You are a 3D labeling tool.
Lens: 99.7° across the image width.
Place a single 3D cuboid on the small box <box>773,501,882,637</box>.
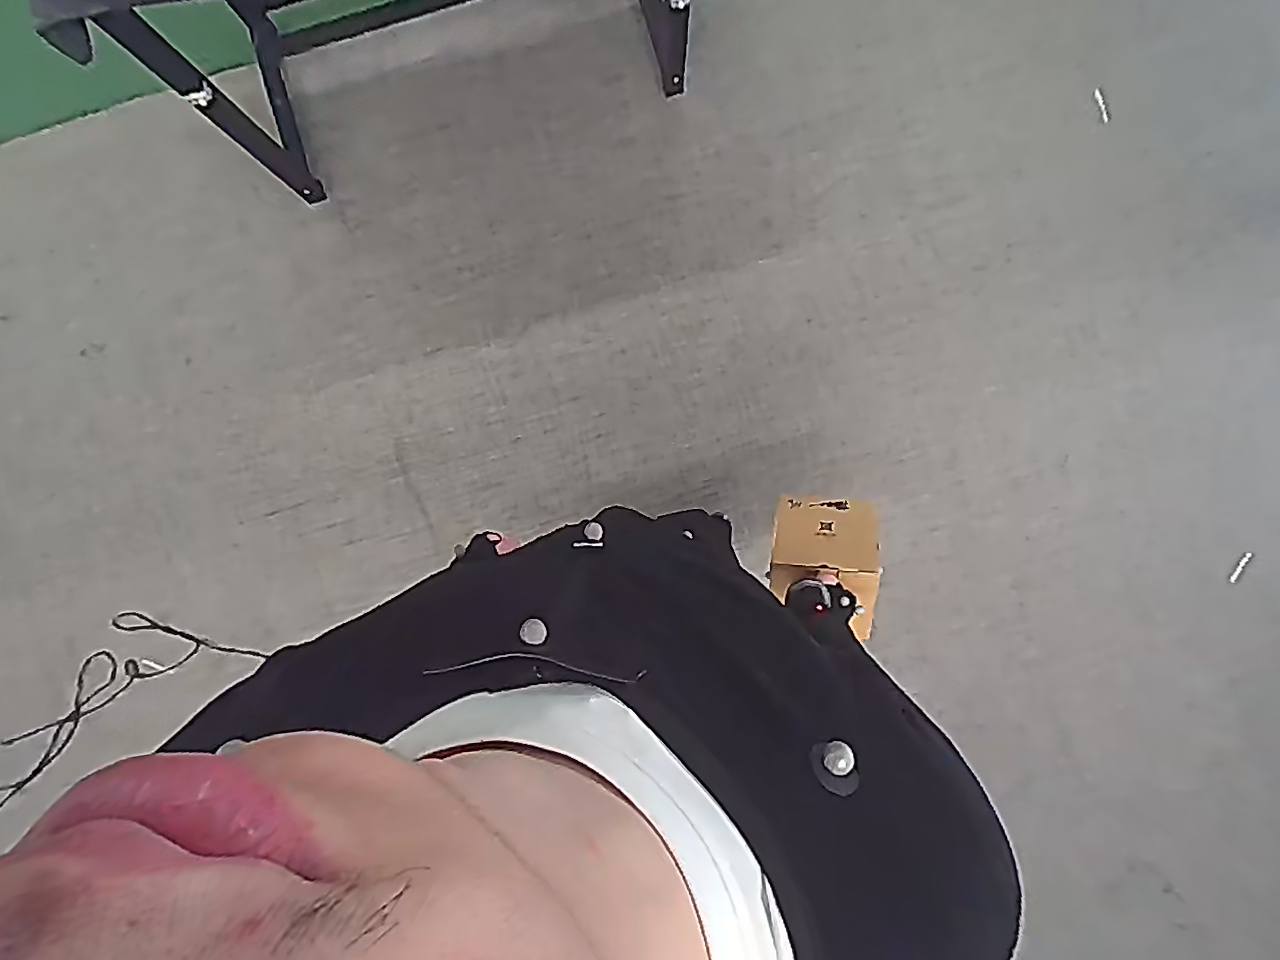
[{"bbox_3d":[0.329,0.155,0.955,0.168,0.179,0.176,0,128,18],"label":"small box"}]
